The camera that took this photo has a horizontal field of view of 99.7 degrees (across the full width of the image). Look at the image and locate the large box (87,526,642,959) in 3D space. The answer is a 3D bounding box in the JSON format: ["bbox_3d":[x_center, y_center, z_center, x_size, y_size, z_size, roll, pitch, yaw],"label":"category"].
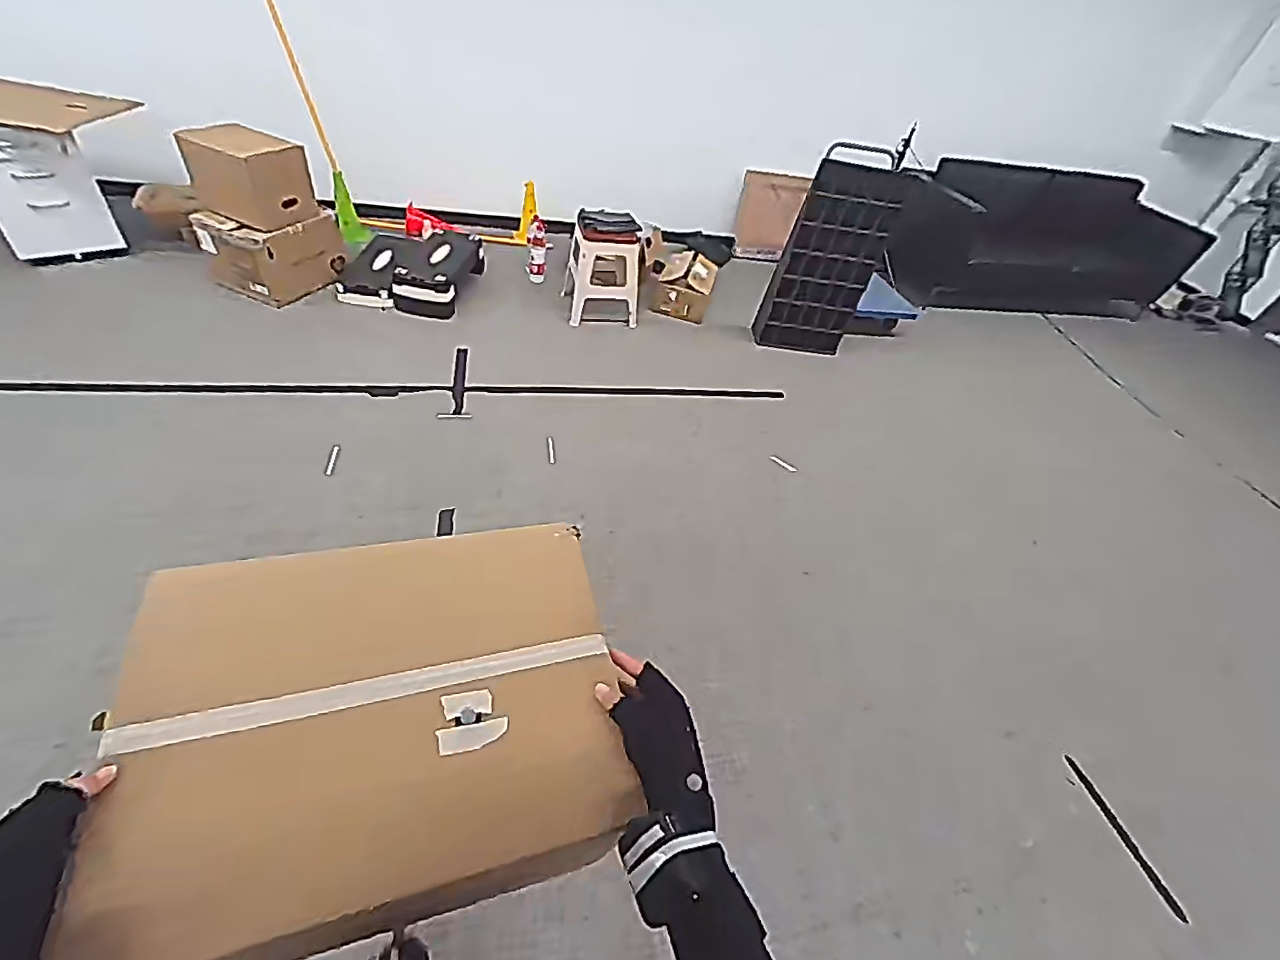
[{"bbox_3d":[-0.255,0.286,0.616,0.408,0.320,0.320,-5,53,-20],"label":"large box"}]
